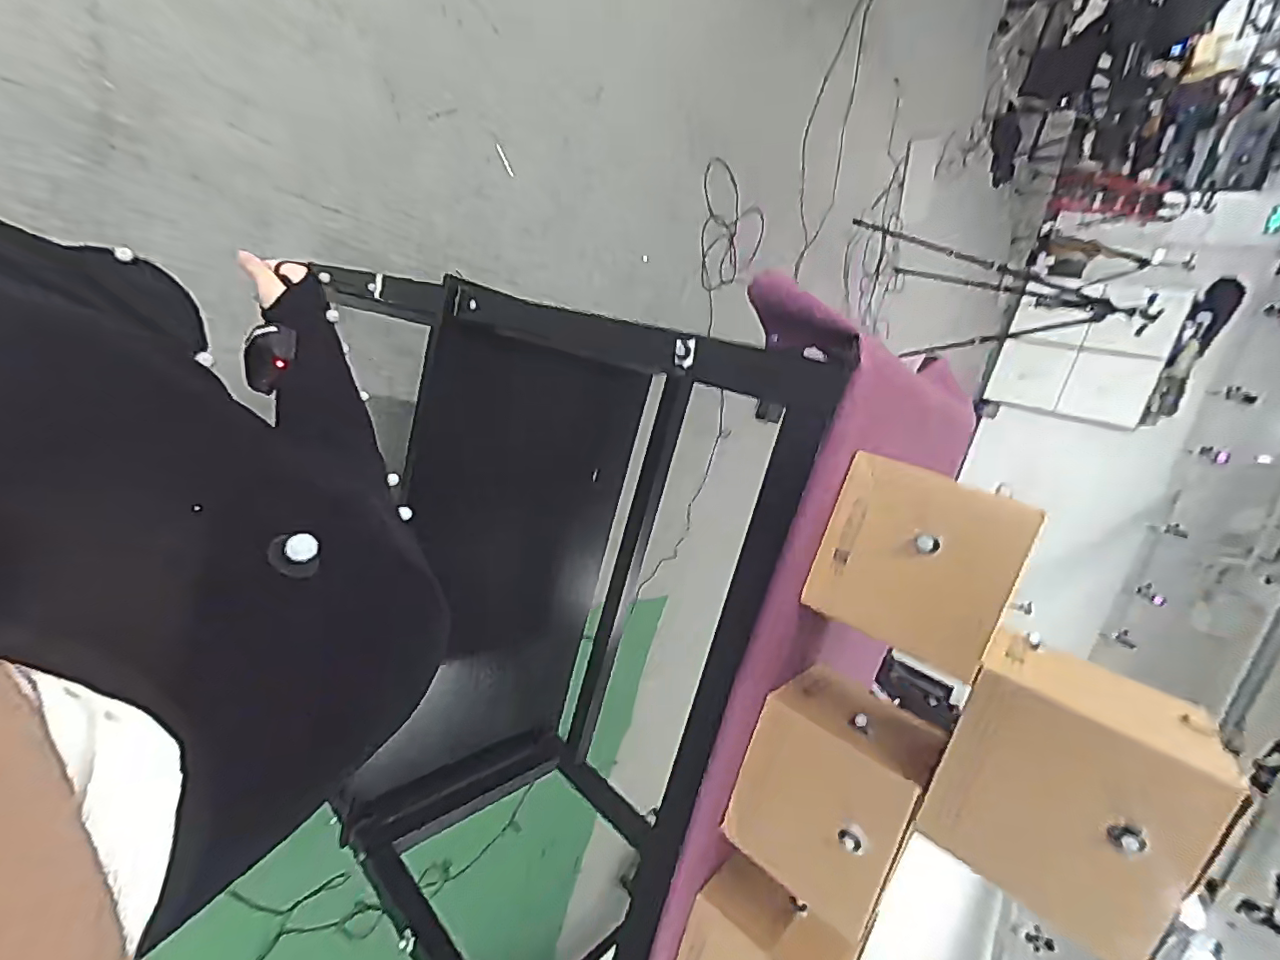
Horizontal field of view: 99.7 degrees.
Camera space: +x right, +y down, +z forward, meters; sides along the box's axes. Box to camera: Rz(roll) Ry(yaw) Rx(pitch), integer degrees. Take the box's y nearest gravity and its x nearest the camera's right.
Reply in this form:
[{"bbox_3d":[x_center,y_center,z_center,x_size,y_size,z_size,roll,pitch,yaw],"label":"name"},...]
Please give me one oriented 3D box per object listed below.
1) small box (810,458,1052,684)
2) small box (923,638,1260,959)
[{"bbox_3d":[0.301,0.082,0.567,0.179,0.176,0.168,7,103,-53],"label":"small box"},{"bbox_3d":[0.382,0.263,0.489,0.168,0.176,0.179,0,109,-51],"label":"small box"}]
